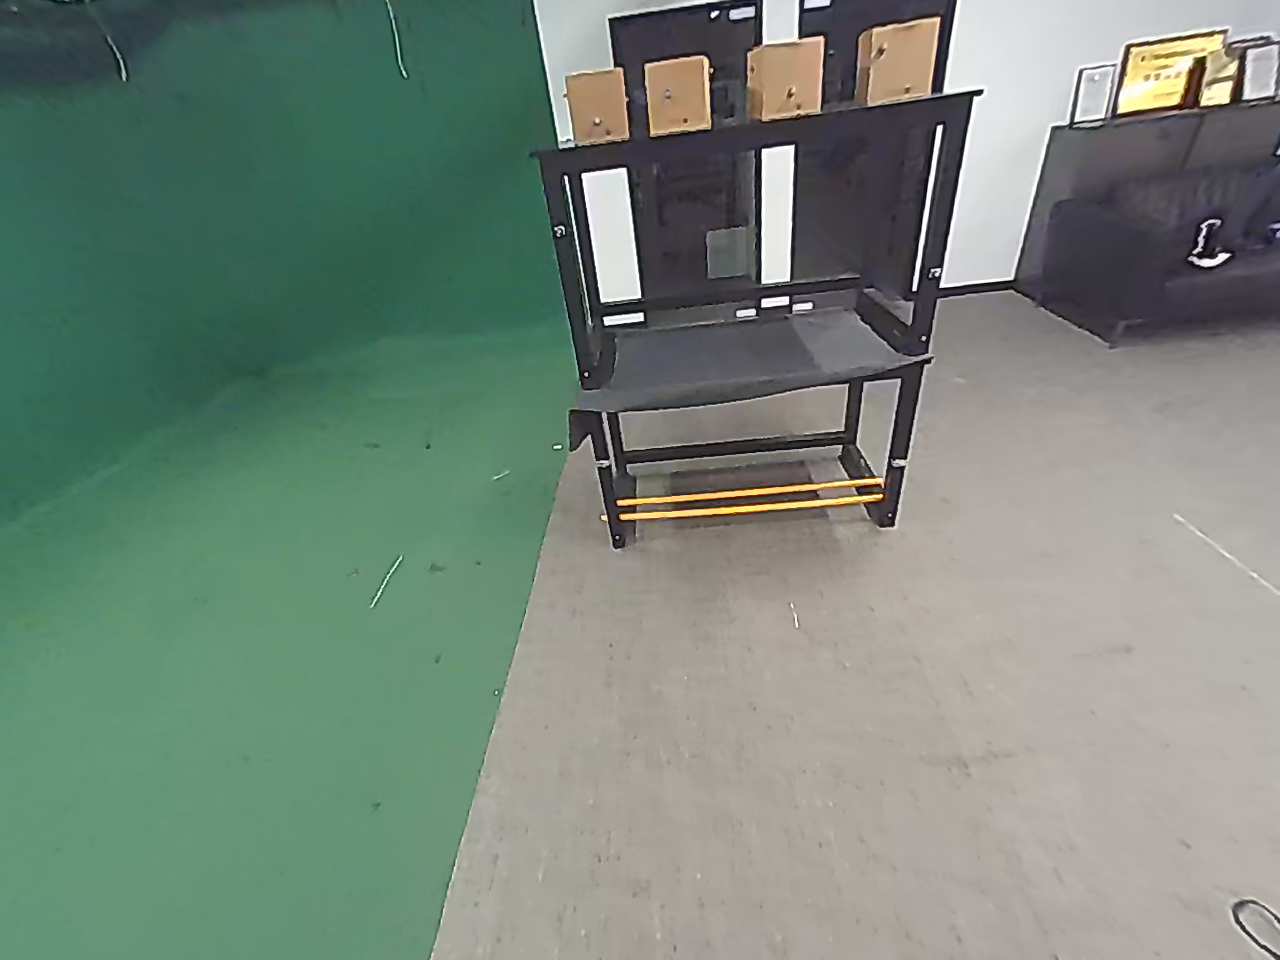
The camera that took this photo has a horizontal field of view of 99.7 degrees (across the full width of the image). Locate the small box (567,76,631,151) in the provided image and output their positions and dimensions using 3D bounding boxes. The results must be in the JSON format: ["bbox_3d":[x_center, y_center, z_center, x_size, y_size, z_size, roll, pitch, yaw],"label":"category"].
[{"bbox_3d":[-0.122,-1.097,1.625,0.168,0.176,0.179,-8,34,-1],"label":"small box"}]

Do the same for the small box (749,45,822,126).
[{"bbox_3d":[0.411,-1.125,1.553,0.168,0.176,0.179,-8,33,1],"label":"small box"}]
